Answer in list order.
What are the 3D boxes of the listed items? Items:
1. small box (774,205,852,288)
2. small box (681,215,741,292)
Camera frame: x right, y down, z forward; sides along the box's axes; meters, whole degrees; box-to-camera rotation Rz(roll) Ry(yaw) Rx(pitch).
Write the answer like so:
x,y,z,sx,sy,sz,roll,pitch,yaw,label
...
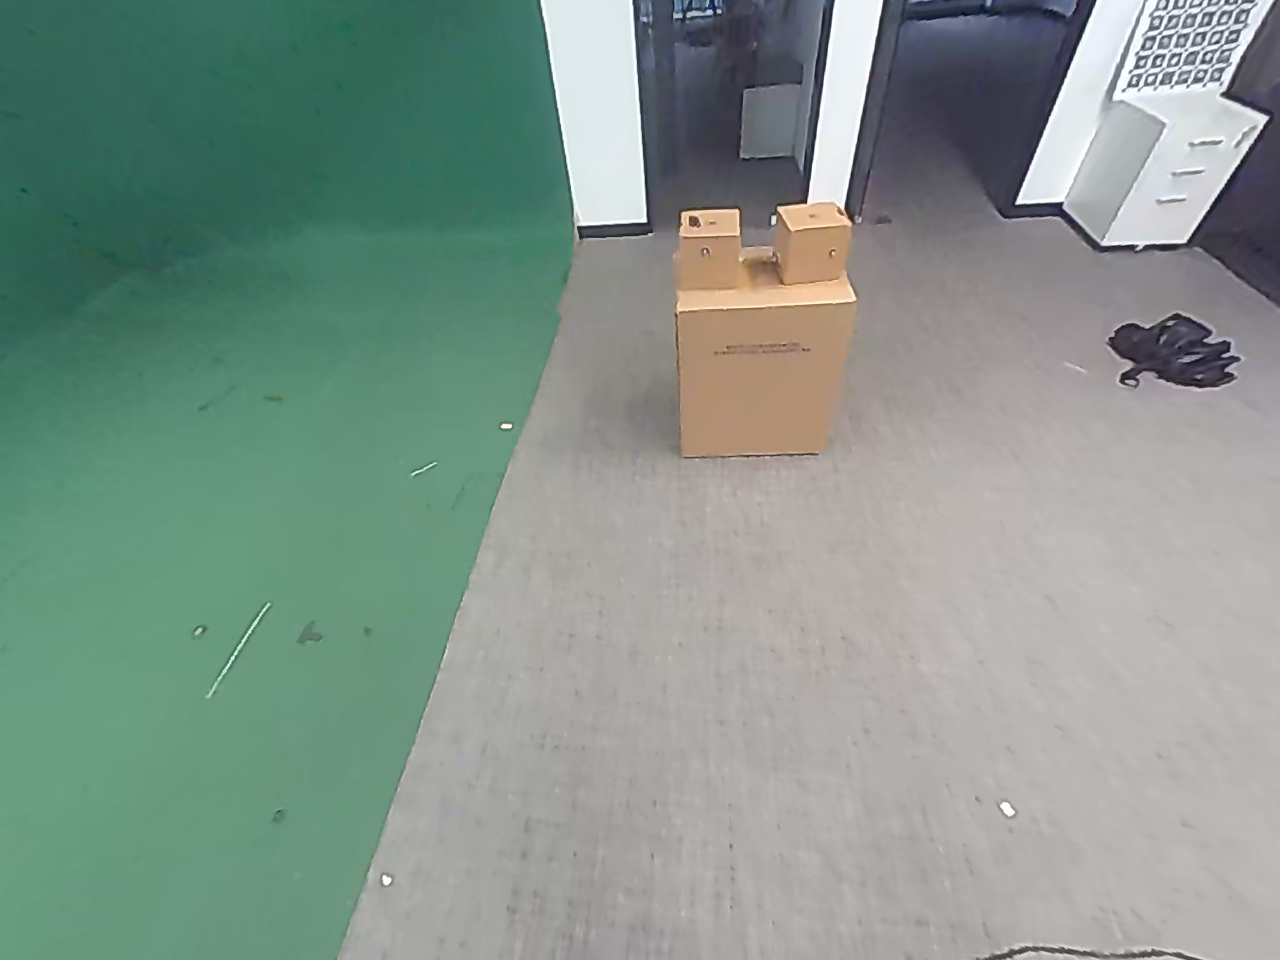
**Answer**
x,y,z,sx,sy,sz,roll,pitch,yaw,label
0.519,-0.708,1.647,0.179,0.176,0.168,-8,48,2,small box
0.221,-0.697,1.671,0.179,0.176,0.168,1,50,8,small box
